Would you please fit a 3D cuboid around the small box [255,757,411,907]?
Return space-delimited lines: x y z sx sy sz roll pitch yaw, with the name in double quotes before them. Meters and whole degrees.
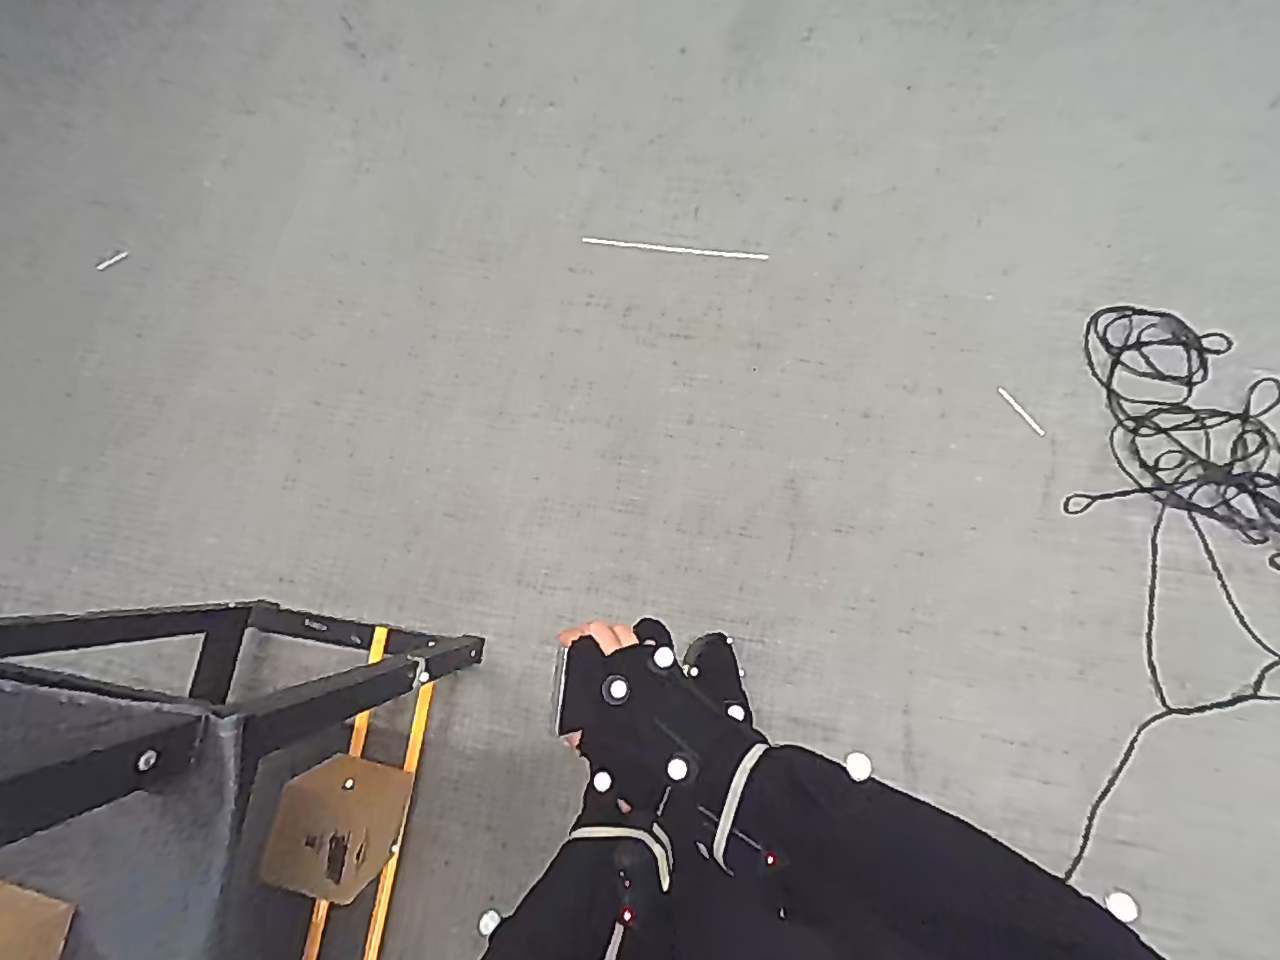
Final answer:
"small box" -0.568 0.653 1.027 0.179 0.176 0.168 12 81 6
